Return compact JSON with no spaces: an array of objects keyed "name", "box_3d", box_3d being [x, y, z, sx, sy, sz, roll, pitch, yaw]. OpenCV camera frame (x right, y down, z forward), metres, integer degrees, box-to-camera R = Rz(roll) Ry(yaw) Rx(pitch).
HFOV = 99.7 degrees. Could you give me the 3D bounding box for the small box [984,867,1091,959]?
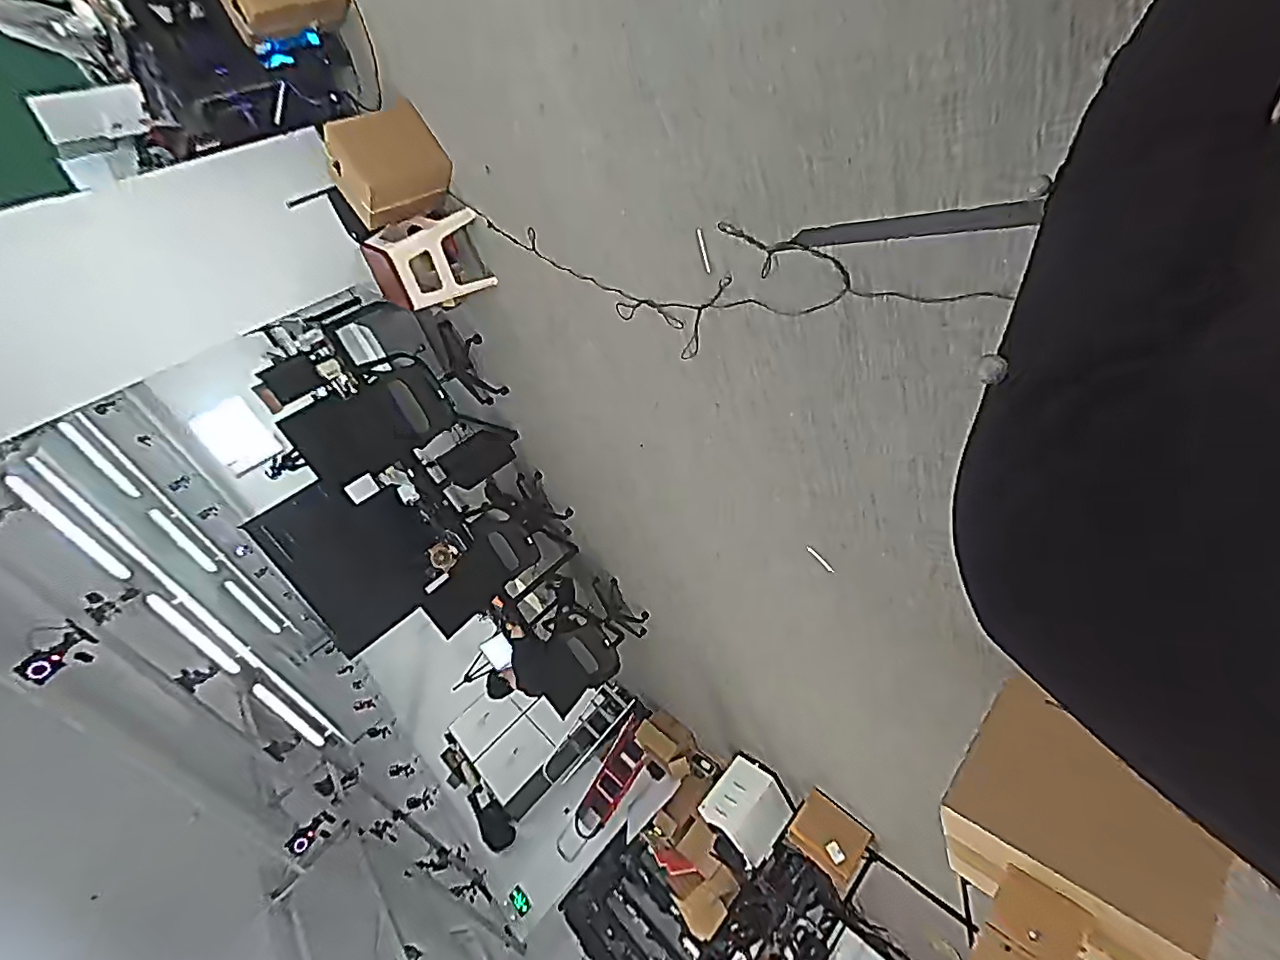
[{"name":"small box","box_3d":[0.998,1.125,1.363,0.179,0.176,0.168,16,138,48]}]
